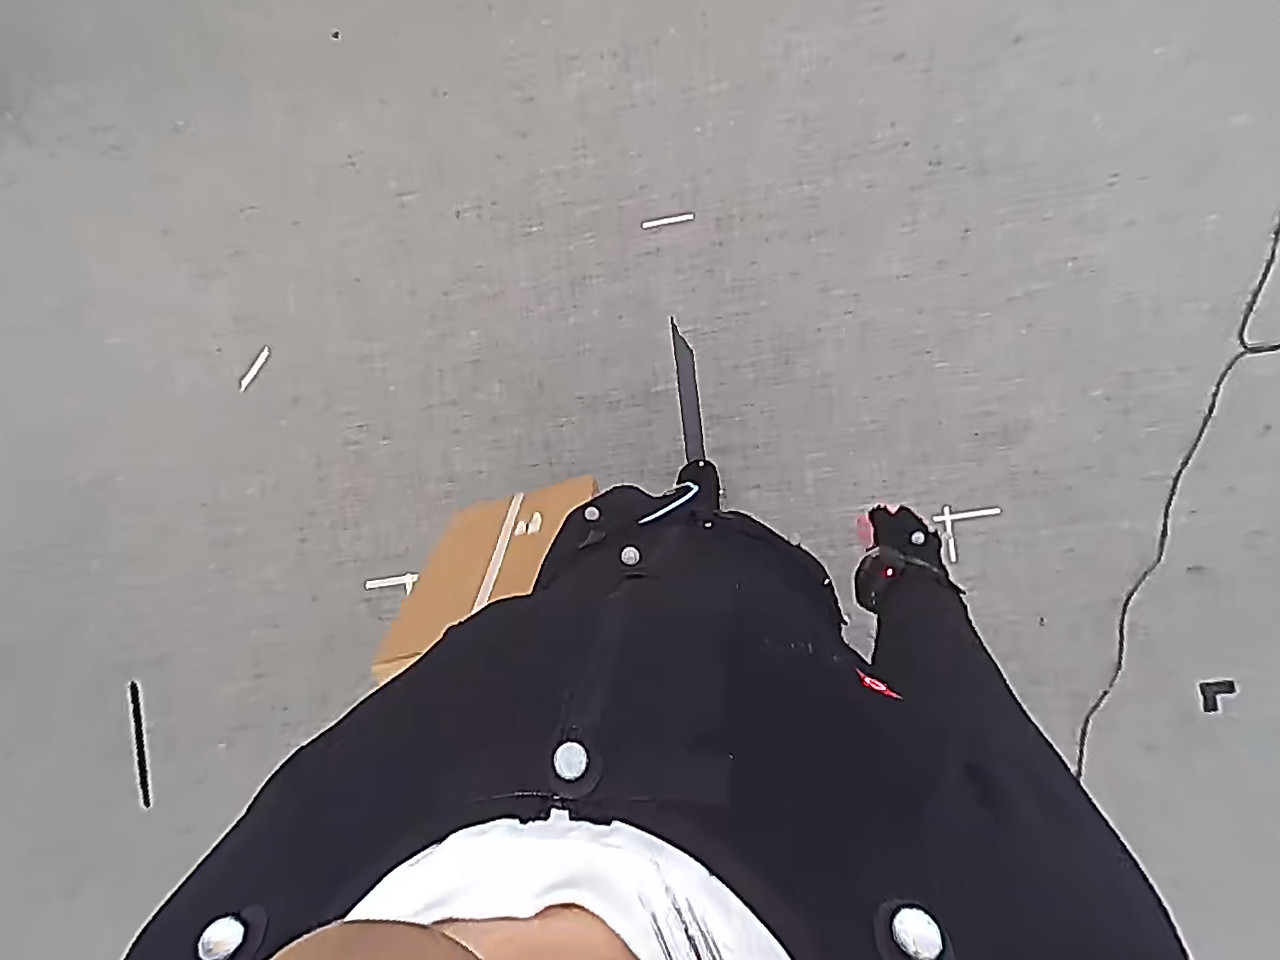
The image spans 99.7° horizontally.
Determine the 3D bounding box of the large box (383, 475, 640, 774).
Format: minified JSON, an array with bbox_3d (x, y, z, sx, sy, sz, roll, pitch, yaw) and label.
[{"bbox_3d":[-0.191,0.248,1.002,0.320,0.408,0.320,-13,119,8],"label":"large box"}]
